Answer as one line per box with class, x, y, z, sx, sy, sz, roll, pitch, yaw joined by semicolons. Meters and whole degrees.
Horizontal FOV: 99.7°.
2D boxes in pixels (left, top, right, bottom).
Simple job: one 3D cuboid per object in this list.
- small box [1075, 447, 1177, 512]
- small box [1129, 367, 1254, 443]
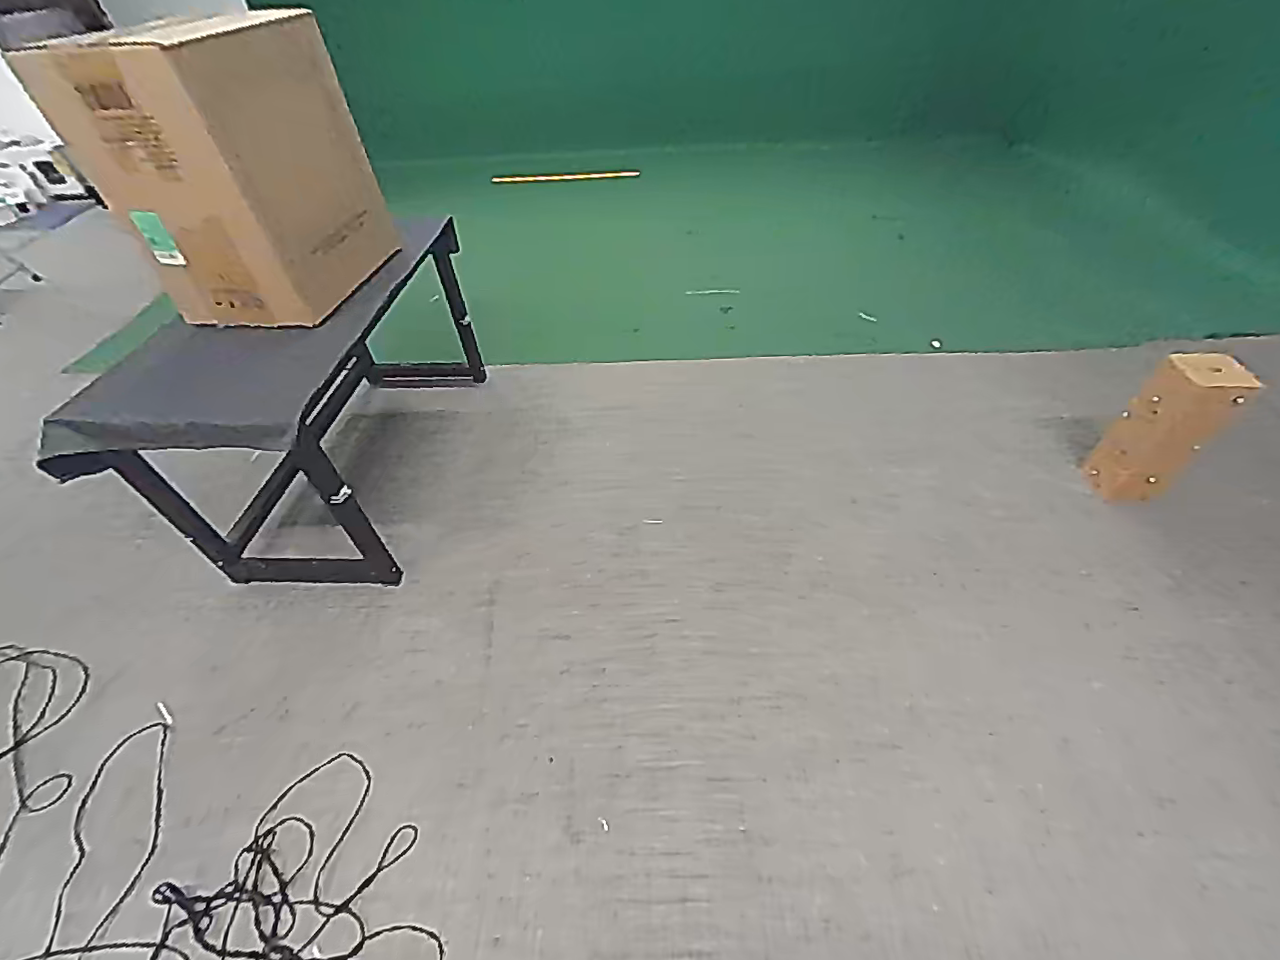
small box;1.700;0.002;1.904;0.179;0.176;0.168;-1;46;3
small box;1.689;-0.229;1.670;0.179;0.176;0.168;2;46;5
